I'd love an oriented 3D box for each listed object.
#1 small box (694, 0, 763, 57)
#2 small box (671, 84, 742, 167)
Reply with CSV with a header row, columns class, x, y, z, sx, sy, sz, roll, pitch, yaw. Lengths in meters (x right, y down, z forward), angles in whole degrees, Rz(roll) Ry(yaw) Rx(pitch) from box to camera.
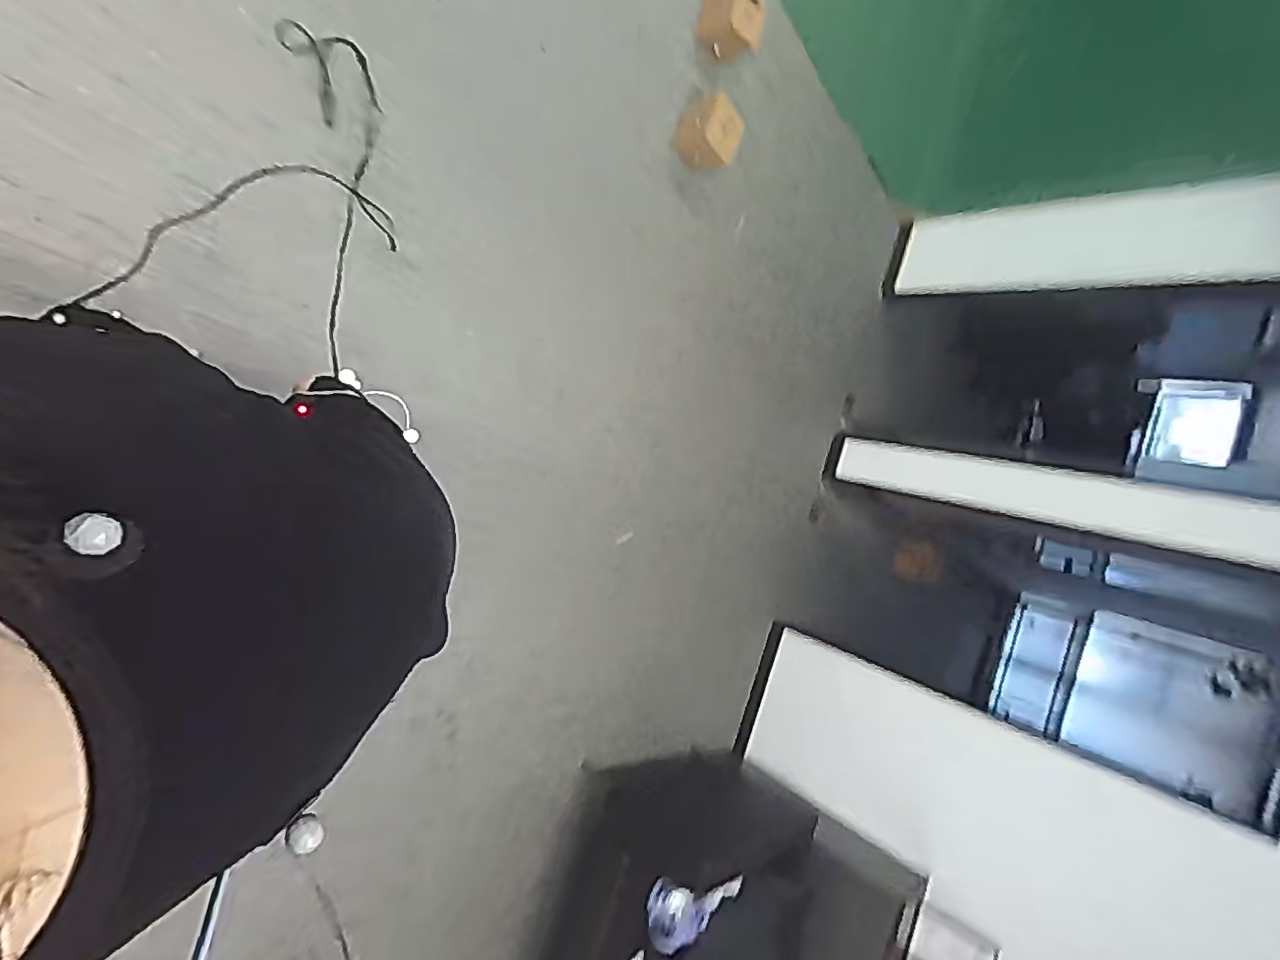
class,x,y,z,sx,sy,sz,roll,pitch,yaw
small box,0.312,-1.662,1.920,0.168,0.176,0.179,4,99,-46
small box,0.237,-1.273,1.958,0.168,0.176,0.179,22,86,-47
